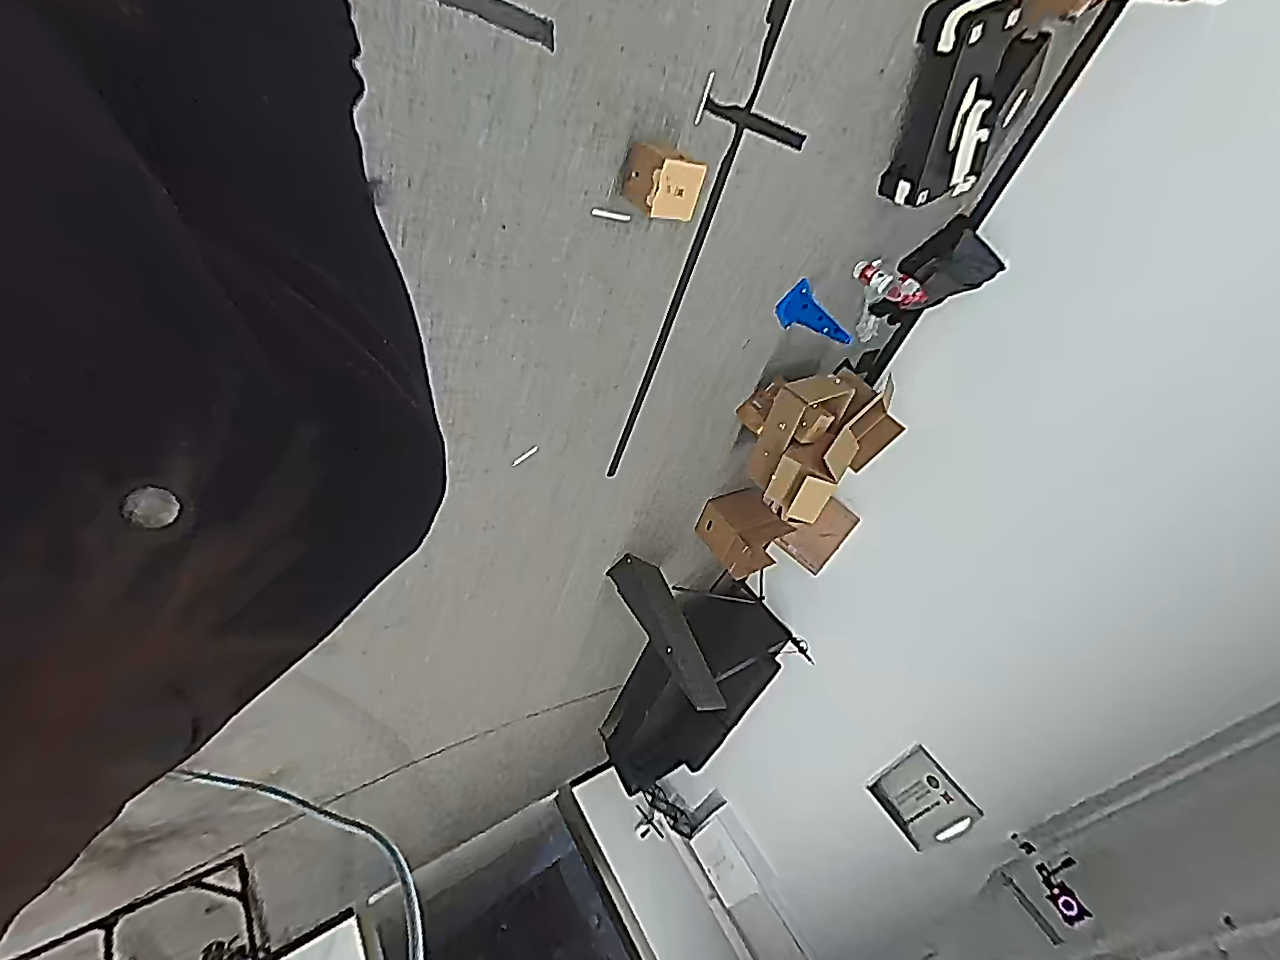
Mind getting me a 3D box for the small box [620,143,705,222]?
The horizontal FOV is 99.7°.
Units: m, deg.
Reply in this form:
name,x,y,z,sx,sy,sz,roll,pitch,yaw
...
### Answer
name,x,y,z,sx,sy,sz,roll,pitch,yaw
small box,0.066,-0.937,1.704,0.179,0.176,0.168,-12,139,-35
